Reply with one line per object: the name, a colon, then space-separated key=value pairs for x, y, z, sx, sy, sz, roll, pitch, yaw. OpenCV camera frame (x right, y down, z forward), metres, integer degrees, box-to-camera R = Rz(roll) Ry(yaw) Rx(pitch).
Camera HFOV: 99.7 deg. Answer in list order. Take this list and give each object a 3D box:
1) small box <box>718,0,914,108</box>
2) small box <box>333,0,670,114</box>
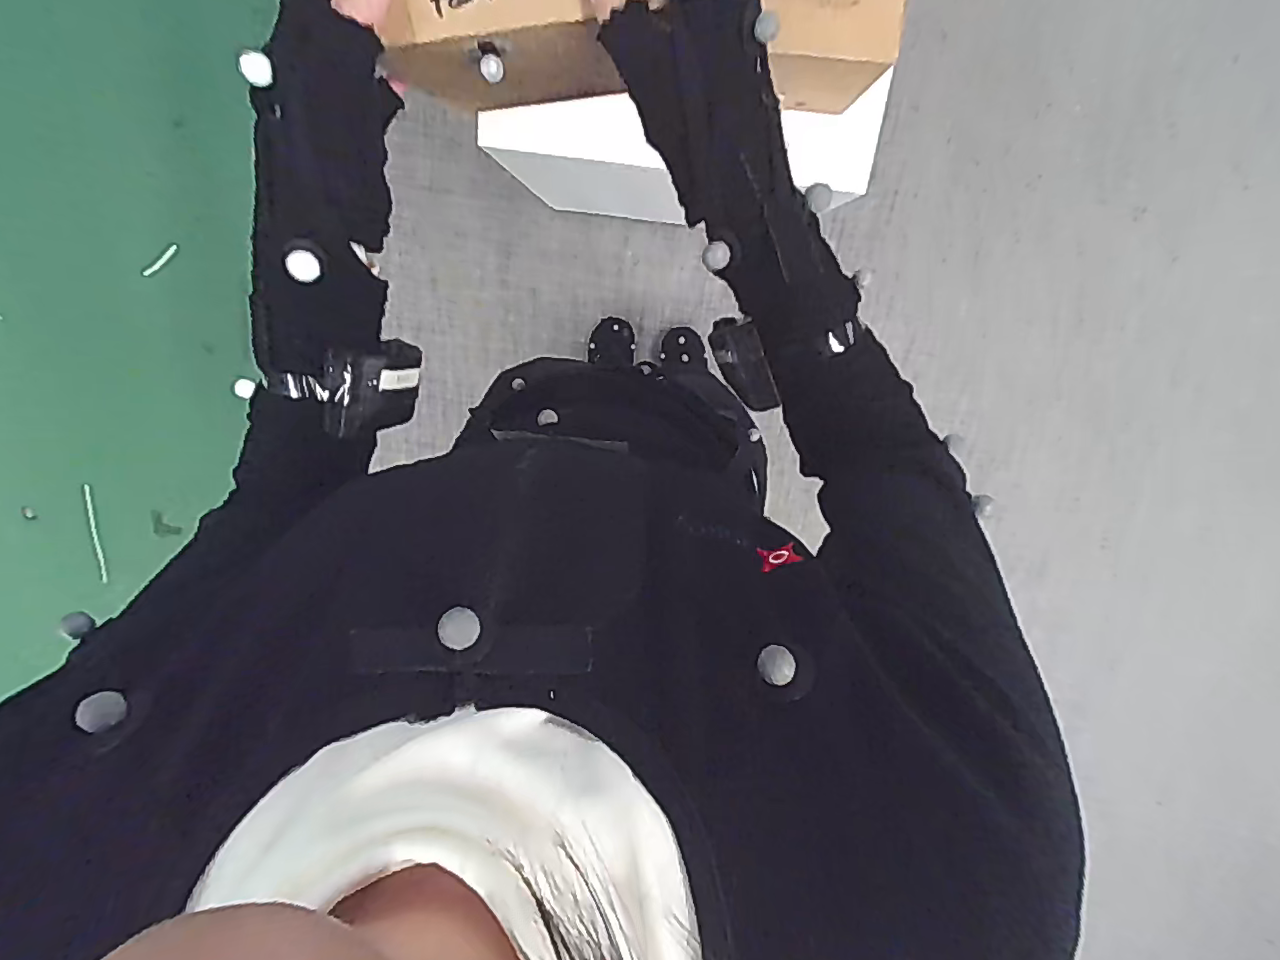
small box: x=0.176 y=-0.514 z=0.555 sx=0.168 sy=0.176 sz=0.179 roll=5 pitch=111 yaw=1
small box: x=-0.073 y=-0.333 z=0.304 sx=0.168 sy=0.176 sz=0.179 roll=-5 pitch=115 yaw=4
